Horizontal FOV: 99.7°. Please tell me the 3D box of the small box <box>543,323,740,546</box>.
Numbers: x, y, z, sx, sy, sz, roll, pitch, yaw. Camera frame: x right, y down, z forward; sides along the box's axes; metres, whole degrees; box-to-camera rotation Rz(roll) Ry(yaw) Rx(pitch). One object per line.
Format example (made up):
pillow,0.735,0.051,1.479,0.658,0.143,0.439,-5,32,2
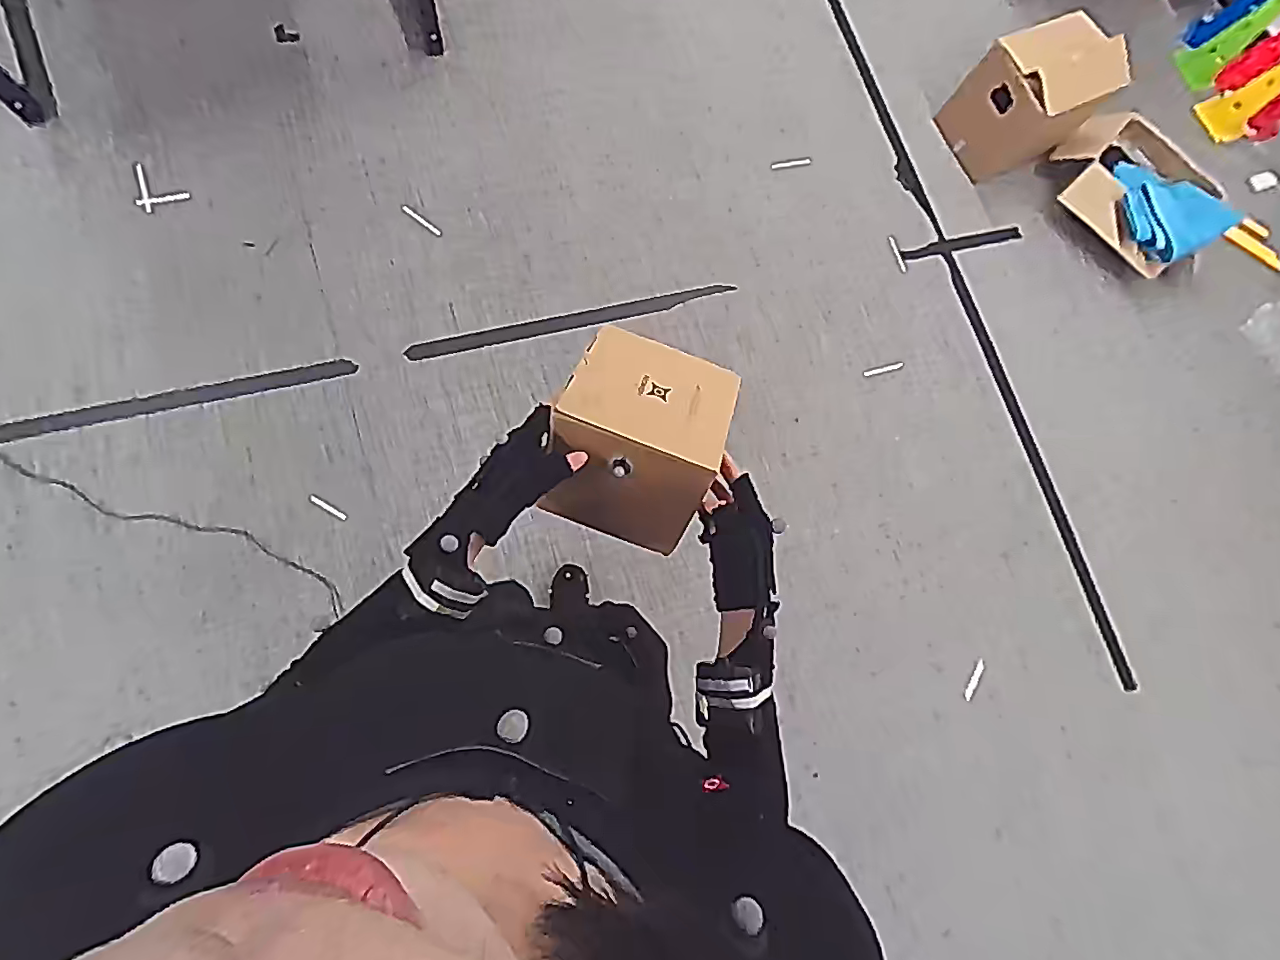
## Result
small box,-0.003,-0.047,0.637,0.179,0.176,0.168,20,50,-2
